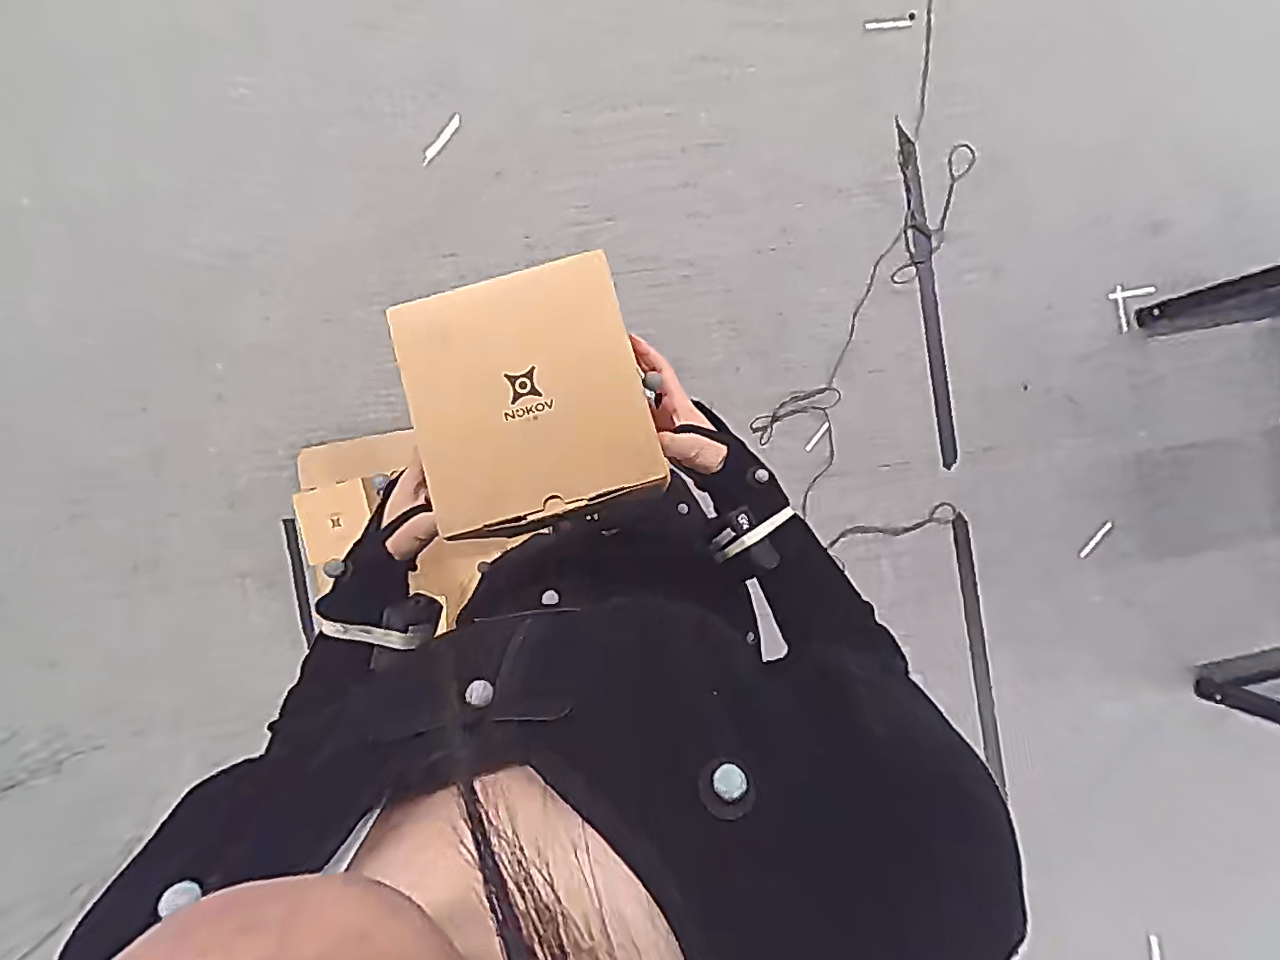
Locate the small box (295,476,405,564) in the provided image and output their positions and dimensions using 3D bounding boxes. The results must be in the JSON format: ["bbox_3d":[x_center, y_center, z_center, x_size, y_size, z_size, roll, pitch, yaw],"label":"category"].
[{"bbox_3d":[-0.713,0.096,1.346,0.168,0.176,0.179,-15,91,-4],"label":"small box"}]

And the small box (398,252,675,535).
[{"bbox_3d":[-0.075,-0.056,0.462,0.168,0.176,0.179,-15,86,0],"label":"small box"}]

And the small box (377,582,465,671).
[{"bbox_3d":[-0.542,0.361,1.356,0.168,0.176,0.179,-1,91,-5],"label":"small box"}]

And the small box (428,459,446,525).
[{"bbox_3d":[-0.415,0.018,1.371,0.179,0.176,0.168,-10,91,-6],"label":"small box"}]
